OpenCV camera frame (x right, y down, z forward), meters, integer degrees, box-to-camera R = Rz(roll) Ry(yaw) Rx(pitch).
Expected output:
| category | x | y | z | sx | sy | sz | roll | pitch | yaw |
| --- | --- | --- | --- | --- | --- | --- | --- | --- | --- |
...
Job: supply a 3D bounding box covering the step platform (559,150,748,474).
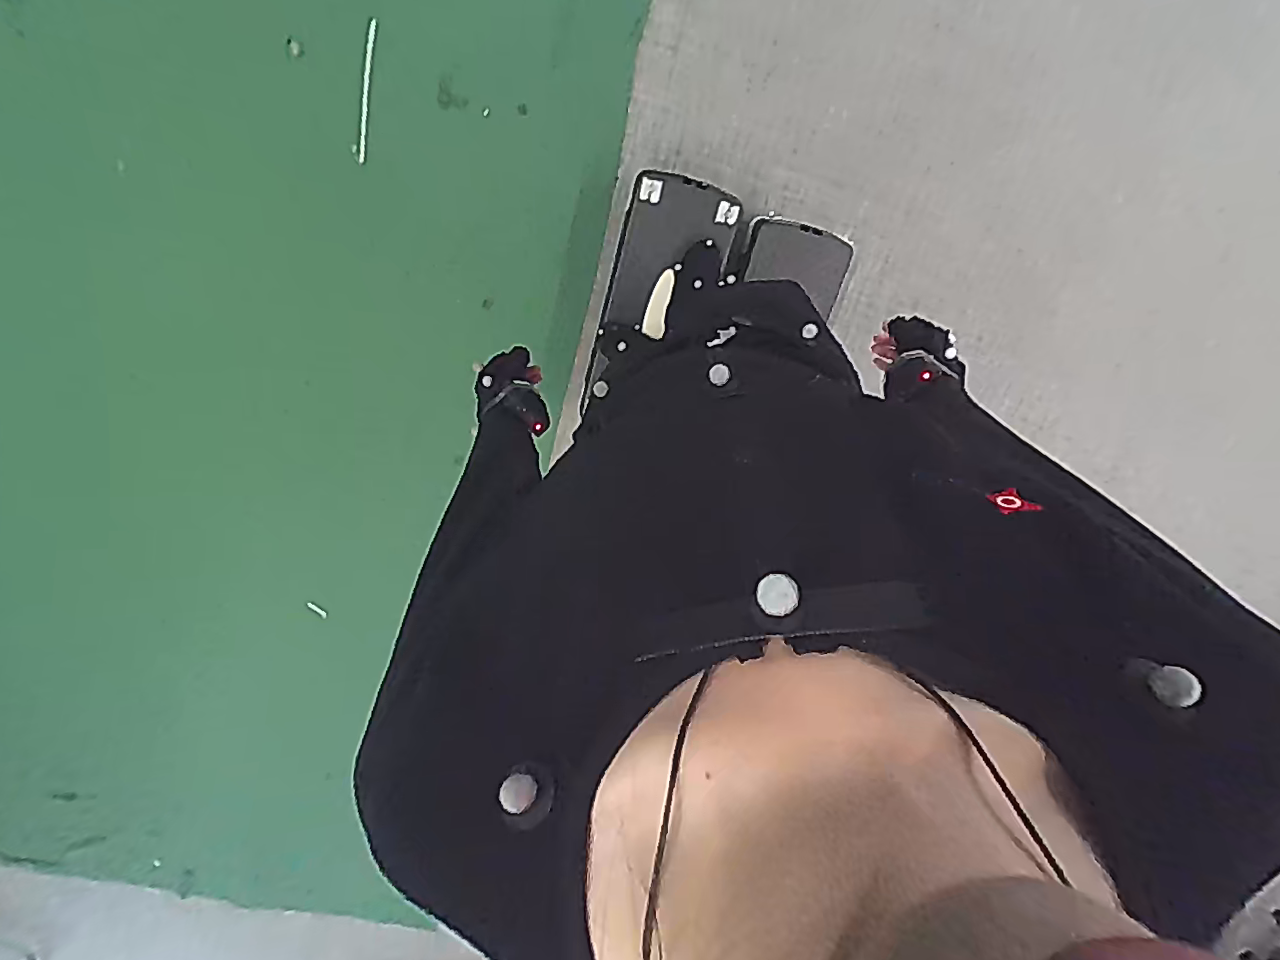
| category | x | y | z | sx | sy | sz | roll | pitch | yaw |
| --- | --- | --- | --- | --- | --- | --- | --- | --- | --- |
| step platform | 0.013 | -0.369 | 1.287 | 0.286 | 0.204 | 0.684 | 13 | 111 | -8 |
